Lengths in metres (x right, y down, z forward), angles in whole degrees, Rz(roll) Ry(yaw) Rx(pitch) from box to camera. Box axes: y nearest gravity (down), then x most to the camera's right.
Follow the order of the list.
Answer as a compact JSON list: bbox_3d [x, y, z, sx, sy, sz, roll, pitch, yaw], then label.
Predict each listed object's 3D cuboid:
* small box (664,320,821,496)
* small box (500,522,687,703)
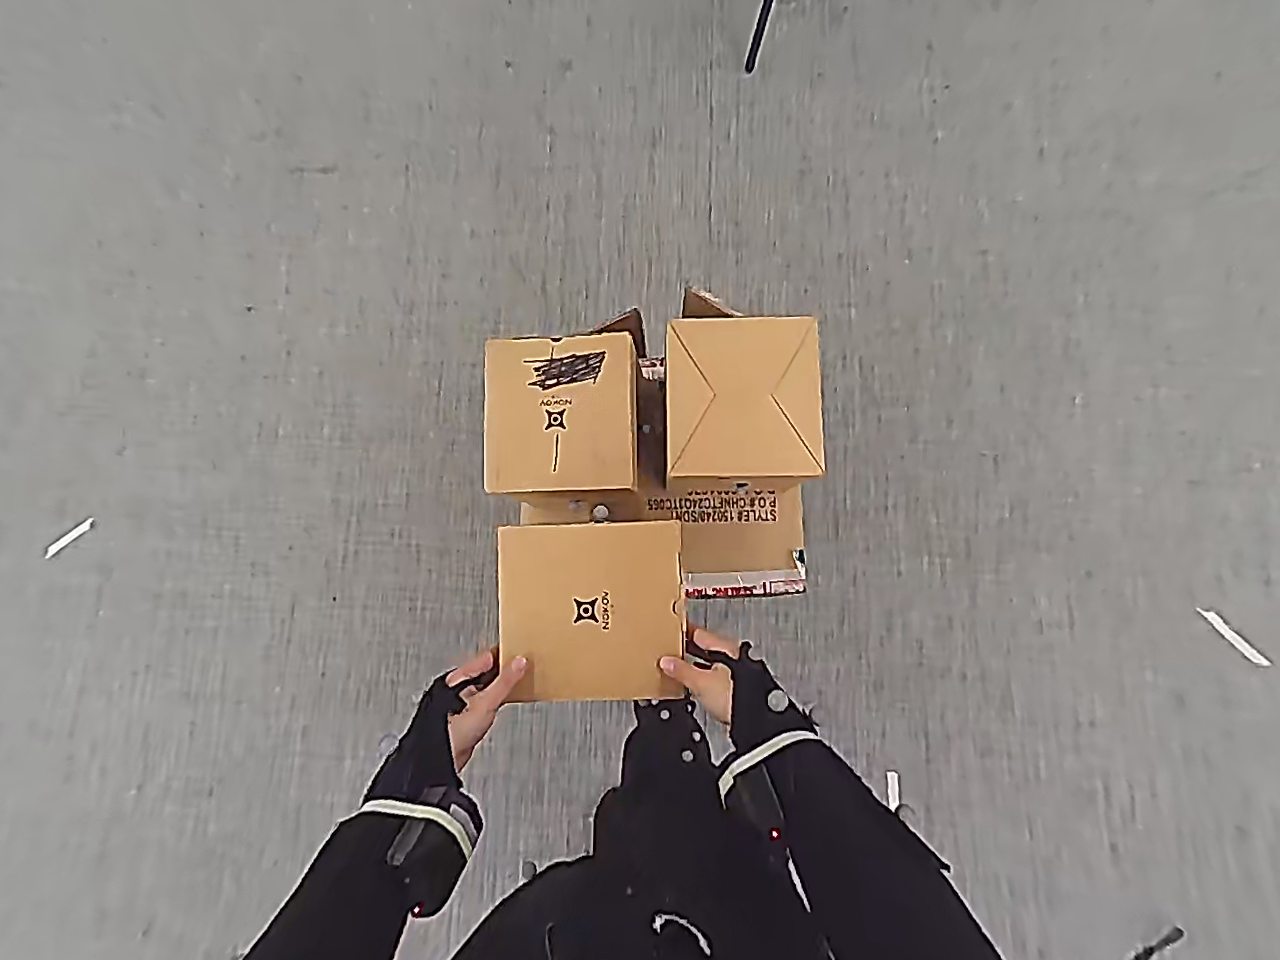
[{"bbox_3d":[0.114,-0.076,0.660,0.168,0.176,0.179,0,83,1],"label":"small box"},{"bbox_3d":[-0.044,0.133,0.588,0.179,0.176,0.168,-2,85,0],"label":"small box"}]
